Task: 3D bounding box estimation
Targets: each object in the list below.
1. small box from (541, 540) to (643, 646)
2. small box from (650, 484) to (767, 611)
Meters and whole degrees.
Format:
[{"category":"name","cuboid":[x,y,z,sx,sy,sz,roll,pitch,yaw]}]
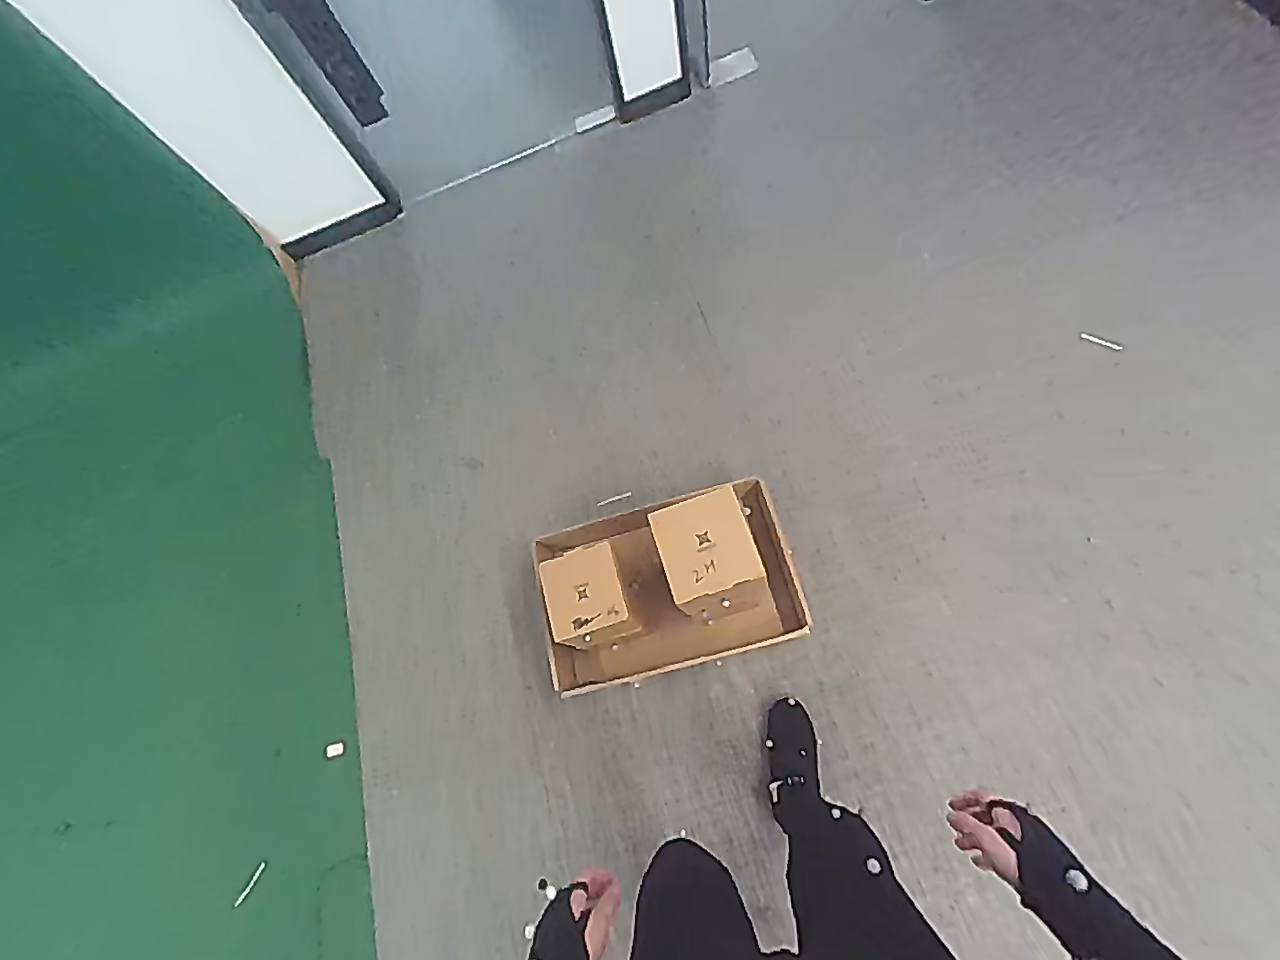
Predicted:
[{"category":"small box","cuboid":[-0.102,0.258,1.204,0.168,0.176,0.179,-19,66,6]},{"category":"small box","cuboid":[0.130,0.134,1.023,0.168,0.176,0.179,-20,68,5]}]
